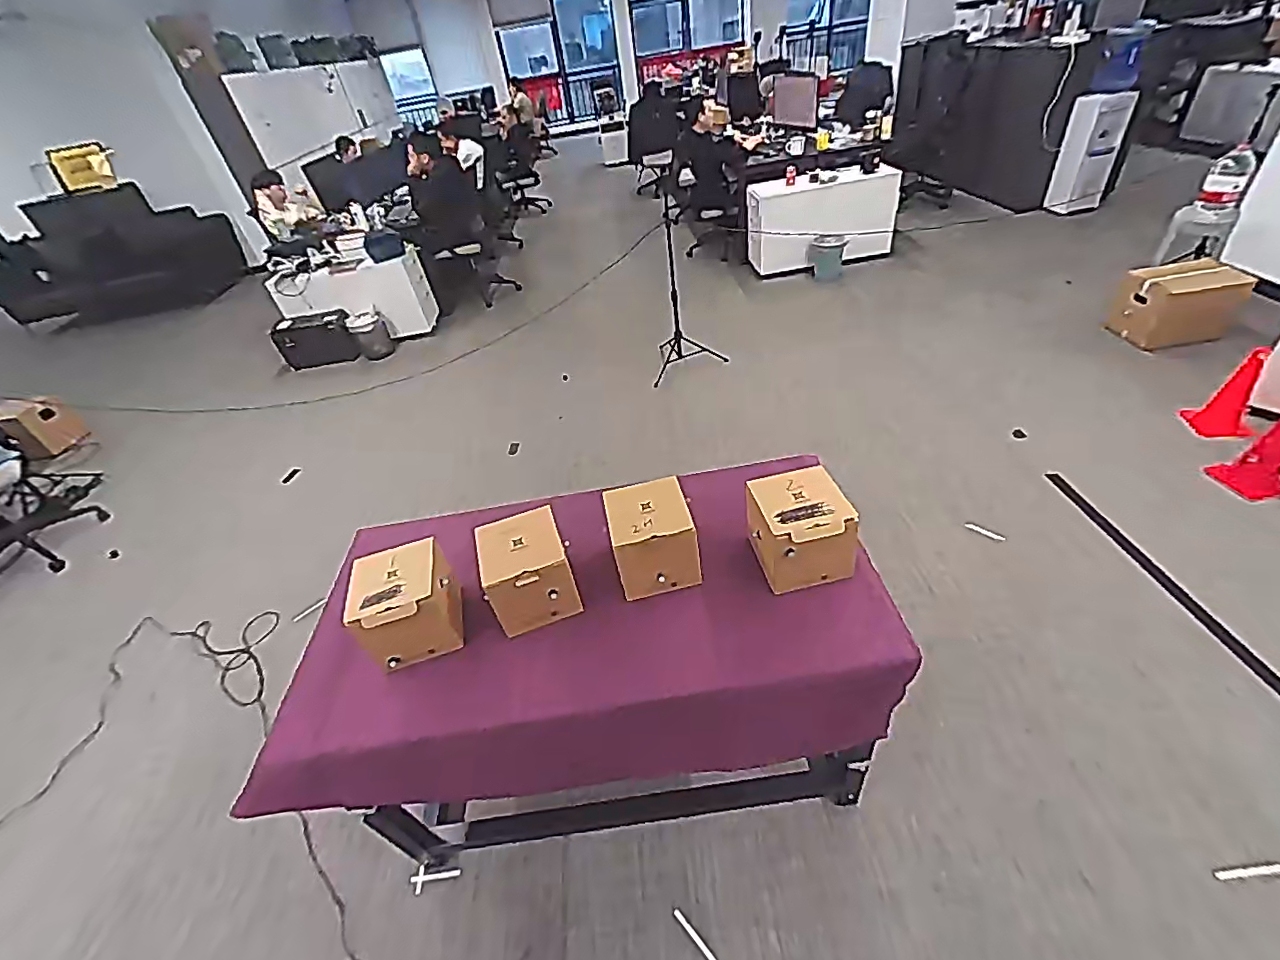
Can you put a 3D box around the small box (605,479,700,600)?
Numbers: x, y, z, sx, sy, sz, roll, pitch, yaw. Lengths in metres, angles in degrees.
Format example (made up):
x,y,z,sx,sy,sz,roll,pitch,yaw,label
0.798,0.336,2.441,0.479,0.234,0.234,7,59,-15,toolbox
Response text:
x,y,z,sx,sy,sz,roll,pitch,yaw,label
0.026,0.128,1.162,0.168,0.176,0.179,-13,40,-2,small box

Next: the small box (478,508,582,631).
x,y,z,sx,sy,sz,roll,pitch,yaw,label
-0.230,0.194,1.142,0.168,0.176,0.179,-17,39,-9,small box

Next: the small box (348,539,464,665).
x,y,z,sx,sy,sz,roll,pitch,yaw,label
-0.472,0.257,1.116,0.168,0.176,0.179,-16,39,-8,small box
